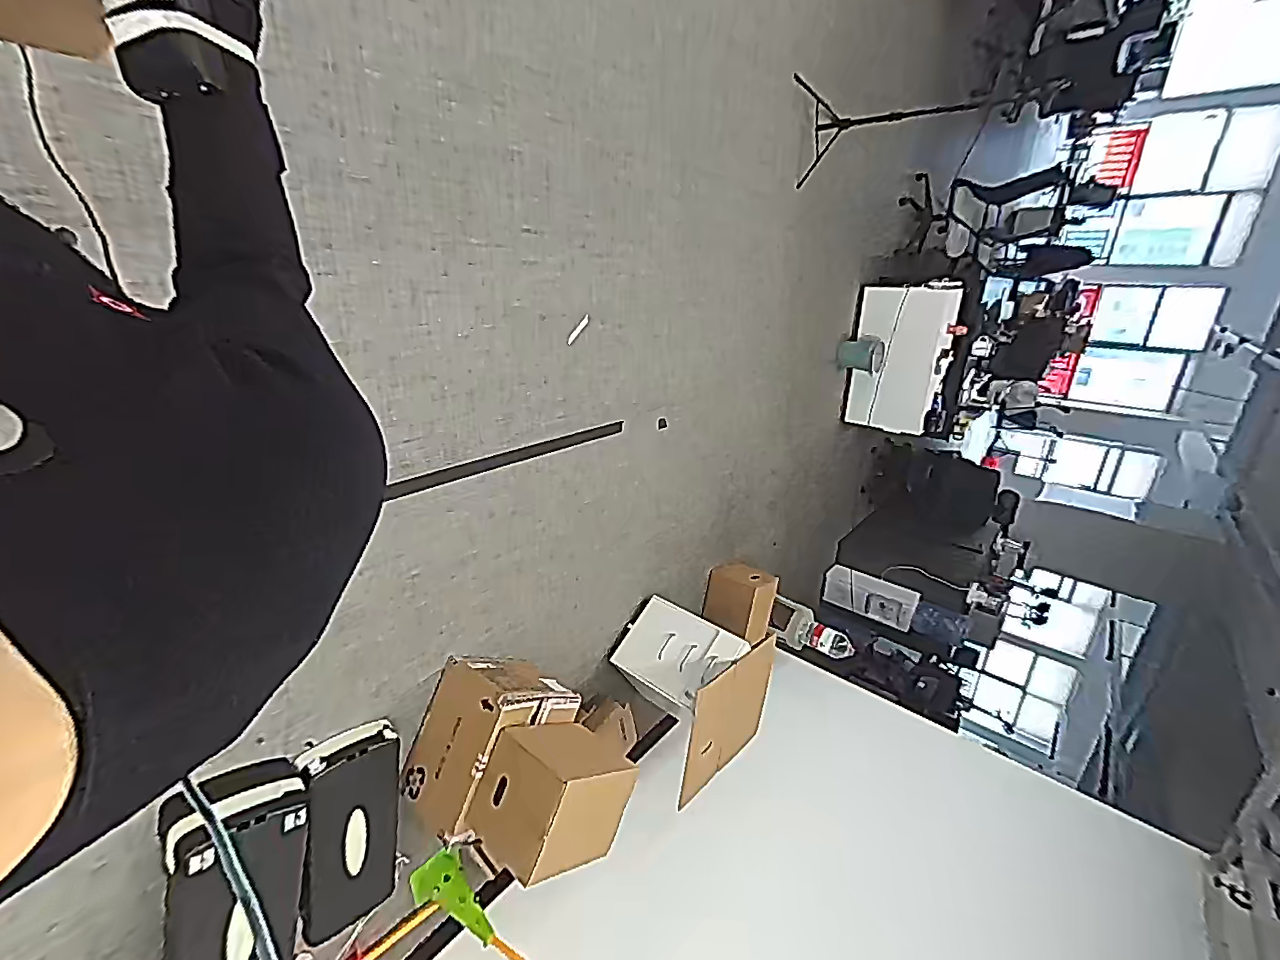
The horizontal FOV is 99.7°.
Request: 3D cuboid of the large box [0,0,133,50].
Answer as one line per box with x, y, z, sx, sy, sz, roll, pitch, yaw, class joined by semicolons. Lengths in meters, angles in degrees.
-0.559;-0.471;0.256;0.408;0.320;0.320;-20;124;-46;large box
